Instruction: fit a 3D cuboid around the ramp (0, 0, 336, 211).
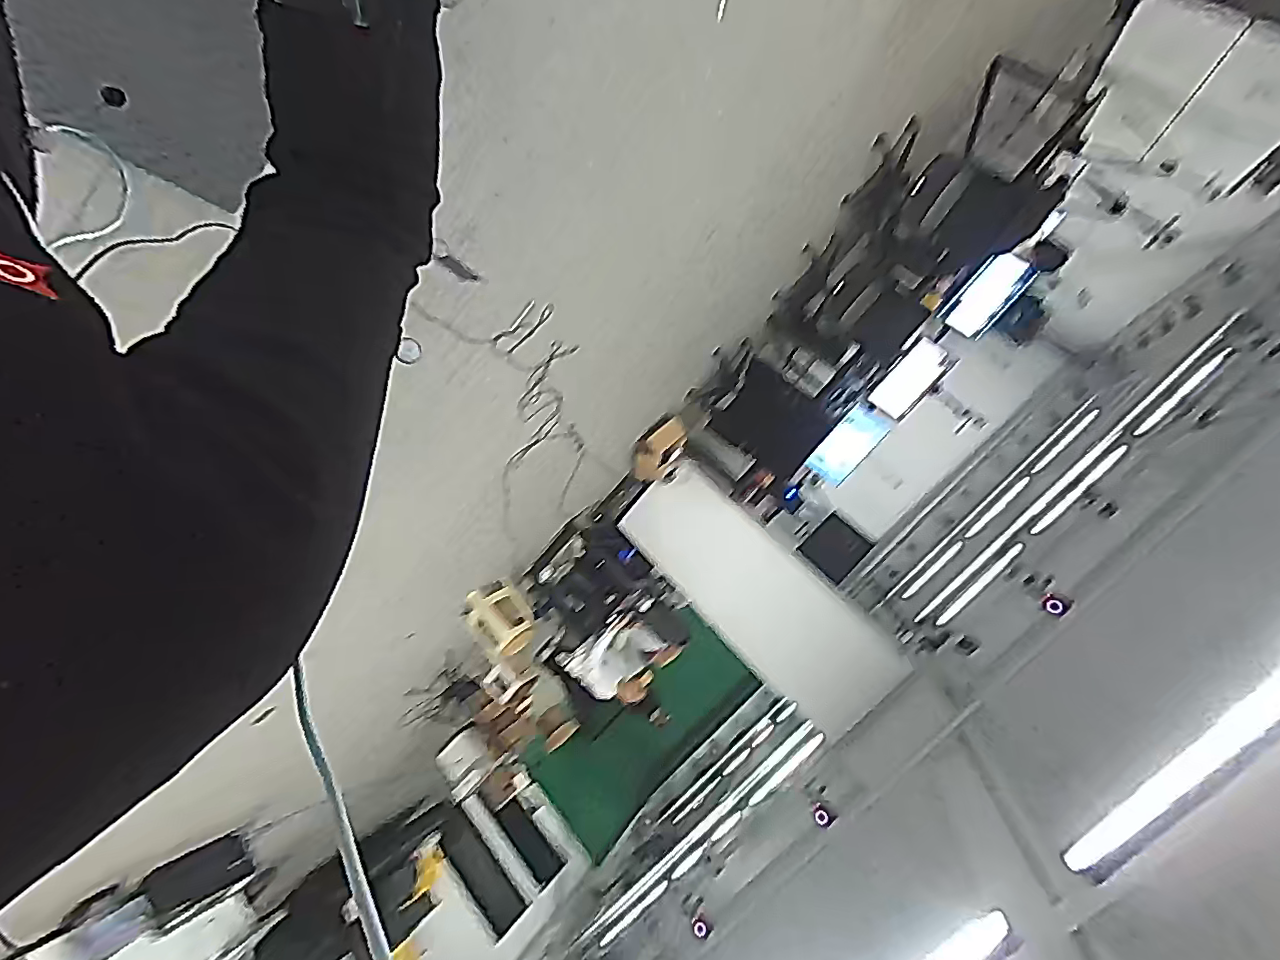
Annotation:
[{"bbox_3d":[-0.933,-0.811,0.761,0.509,0.206,0.991,-51,161,10],"label":"ramp"}]
